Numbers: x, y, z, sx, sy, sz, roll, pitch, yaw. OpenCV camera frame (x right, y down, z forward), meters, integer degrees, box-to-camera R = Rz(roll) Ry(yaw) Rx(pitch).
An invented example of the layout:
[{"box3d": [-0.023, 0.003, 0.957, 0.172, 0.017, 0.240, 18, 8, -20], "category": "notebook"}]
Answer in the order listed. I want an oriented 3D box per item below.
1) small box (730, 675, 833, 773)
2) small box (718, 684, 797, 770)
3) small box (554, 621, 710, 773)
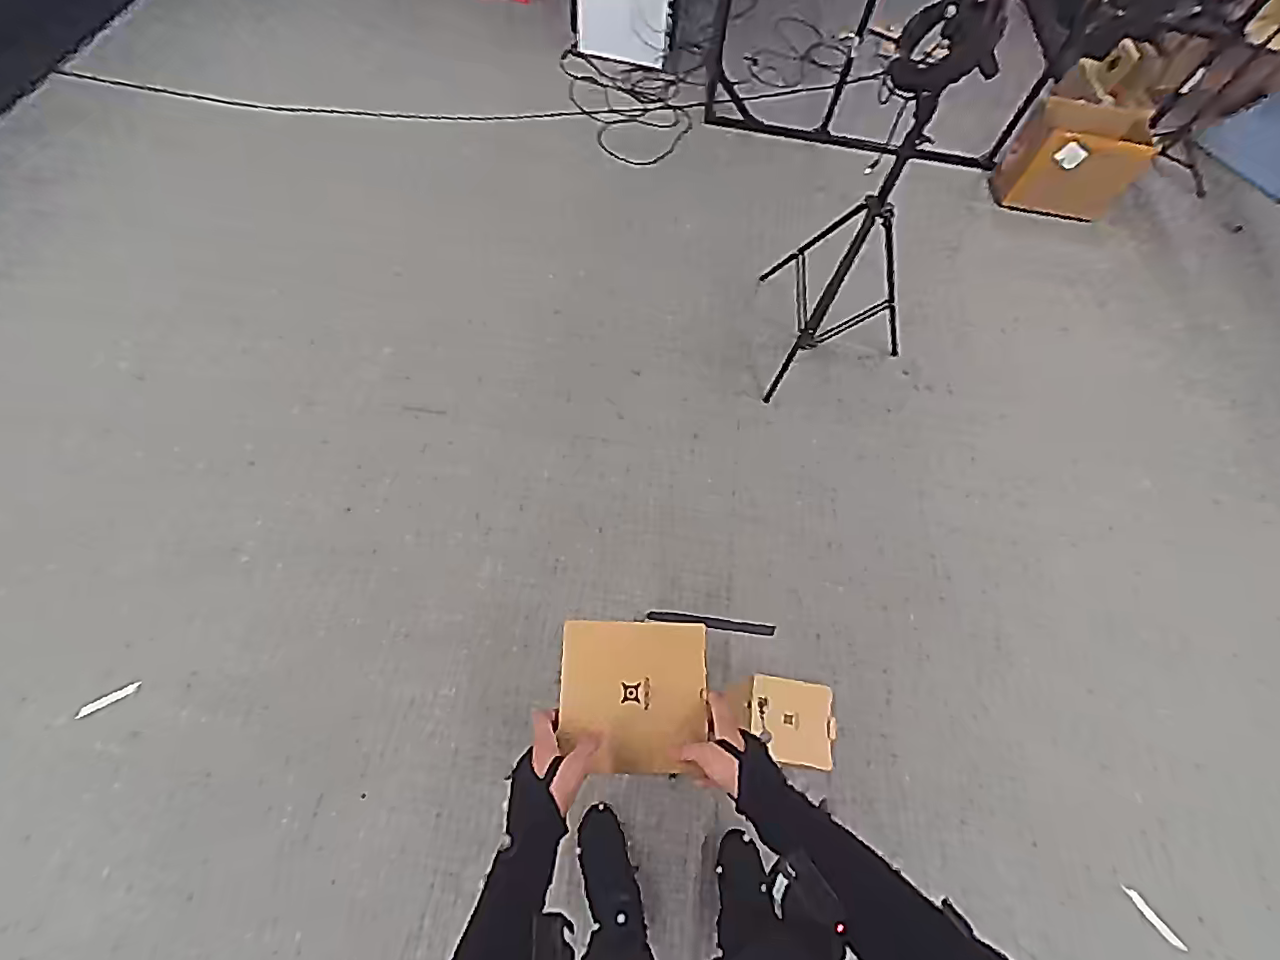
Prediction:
[{"box3d": [0.314, 0.547, 1.211, 0.179, 0.176, 0.168, 11, 62, 0], "category": "small box"}, {"box3d": [0.301, 0.622, 1.356, 0.179, 0.176, 0.168, 10, 63, -1], "category": "small box"}, {"box3d": [-0.015, 0.283, 0.701, 0.179, 0.176, 0.168, 3, 66, -6], "category": "small box"}]
